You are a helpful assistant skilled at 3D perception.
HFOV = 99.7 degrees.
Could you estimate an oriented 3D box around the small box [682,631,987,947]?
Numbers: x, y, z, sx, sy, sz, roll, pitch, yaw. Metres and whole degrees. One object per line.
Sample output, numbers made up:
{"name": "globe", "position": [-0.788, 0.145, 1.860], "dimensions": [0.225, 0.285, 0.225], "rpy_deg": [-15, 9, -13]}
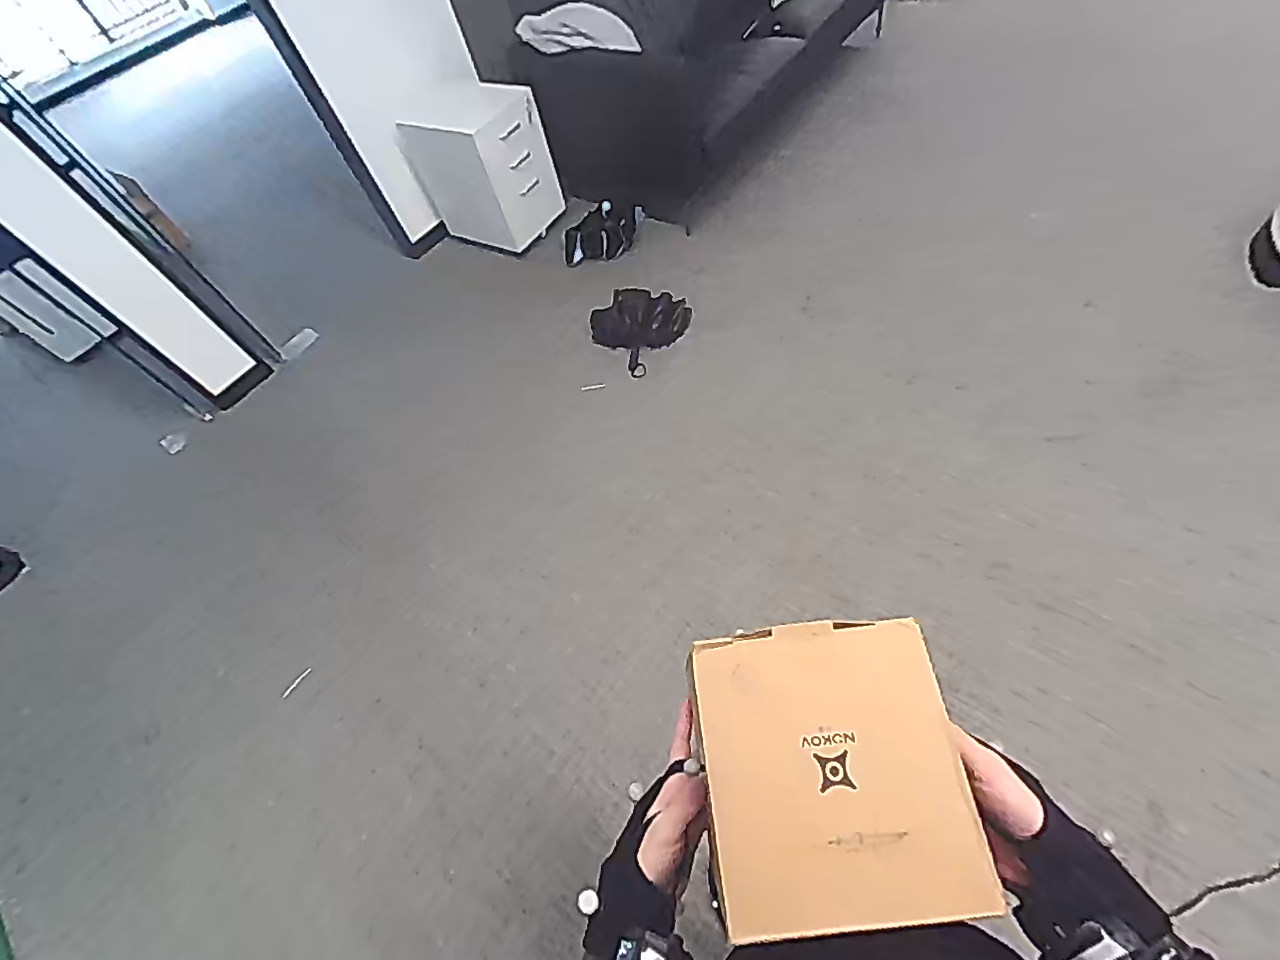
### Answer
{"name": "small box", "position": [0.124, 0.225, 0.428], "dimensions": [0.168, 0.176, 0.179], "rpy_deg": [-5, 67, 1]}
